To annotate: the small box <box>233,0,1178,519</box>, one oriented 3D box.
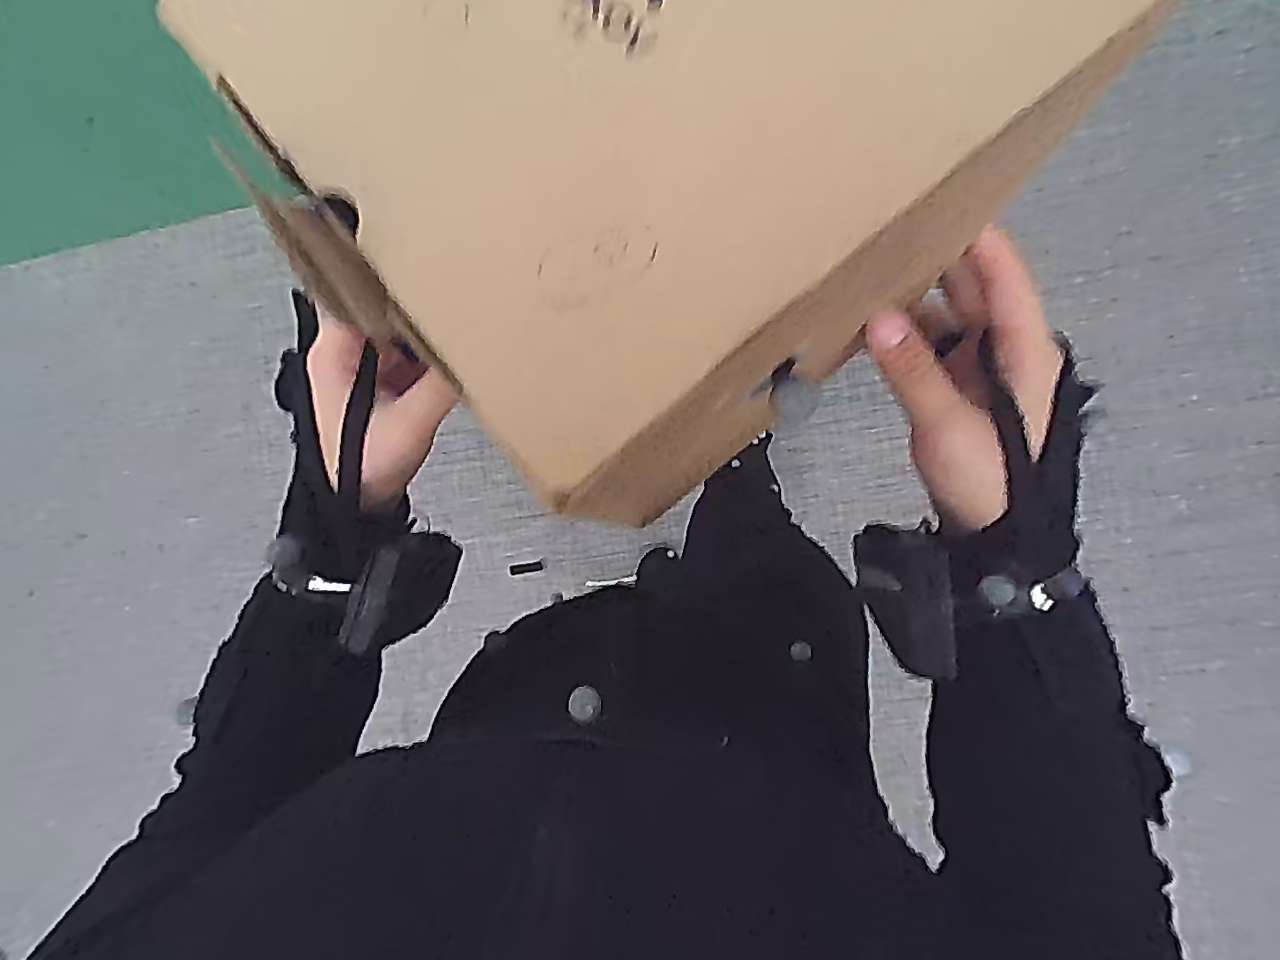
[{"bbox_3d":[0.013,-0.098,0.211,0.179,0.176,0.168,-40,81,1],"label":"small box"}]
